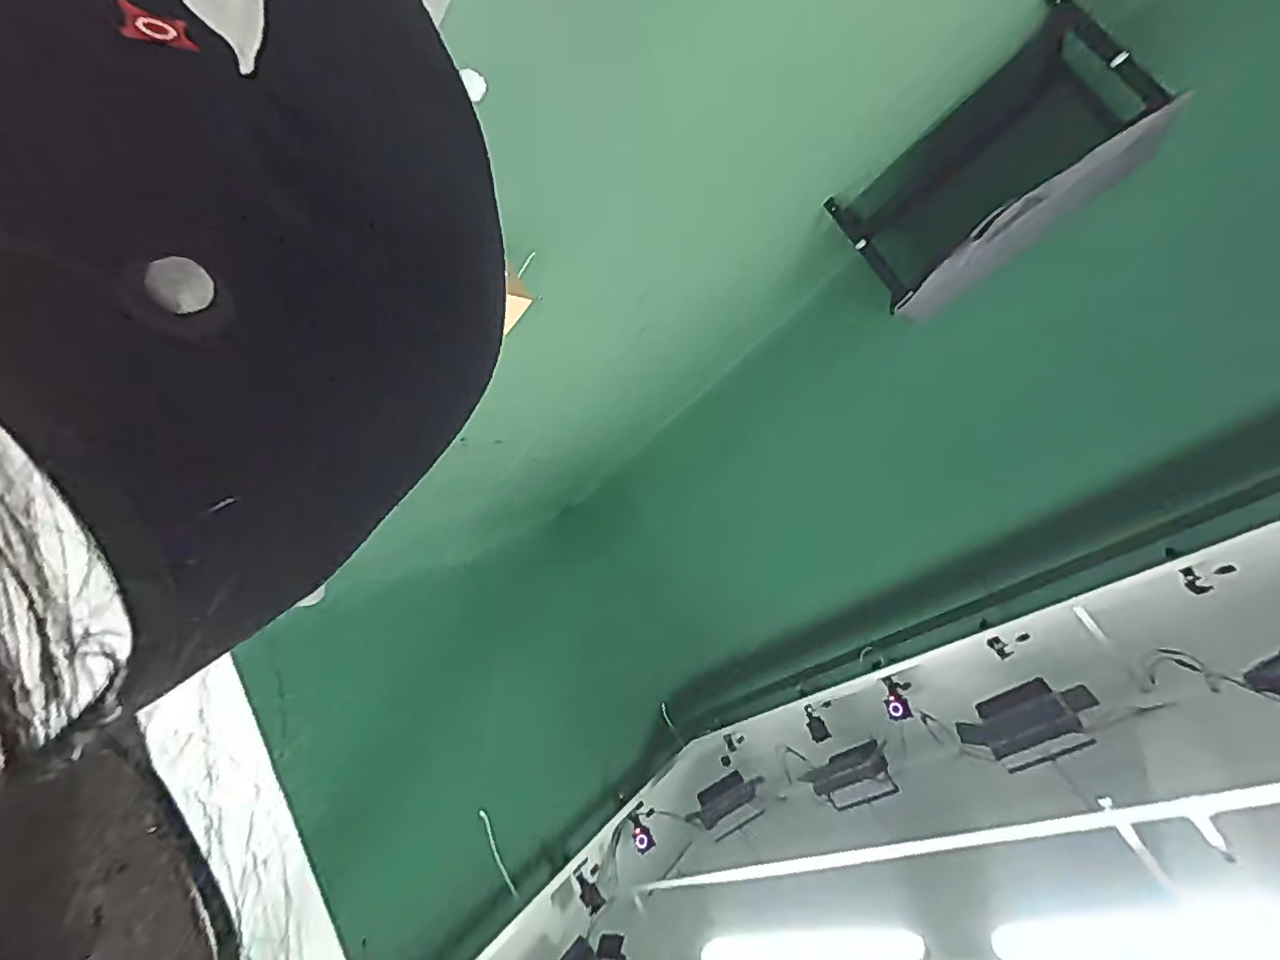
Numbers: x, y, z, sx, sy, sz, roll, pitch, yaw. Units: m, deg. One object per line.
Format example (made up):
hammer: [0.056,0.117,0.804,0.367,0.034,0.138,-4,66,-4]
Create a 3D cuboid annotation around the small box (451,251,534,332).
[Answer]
small box: [-0.489,-0.618,1.776,0.179,0.176,0.168,-38,165,31]
